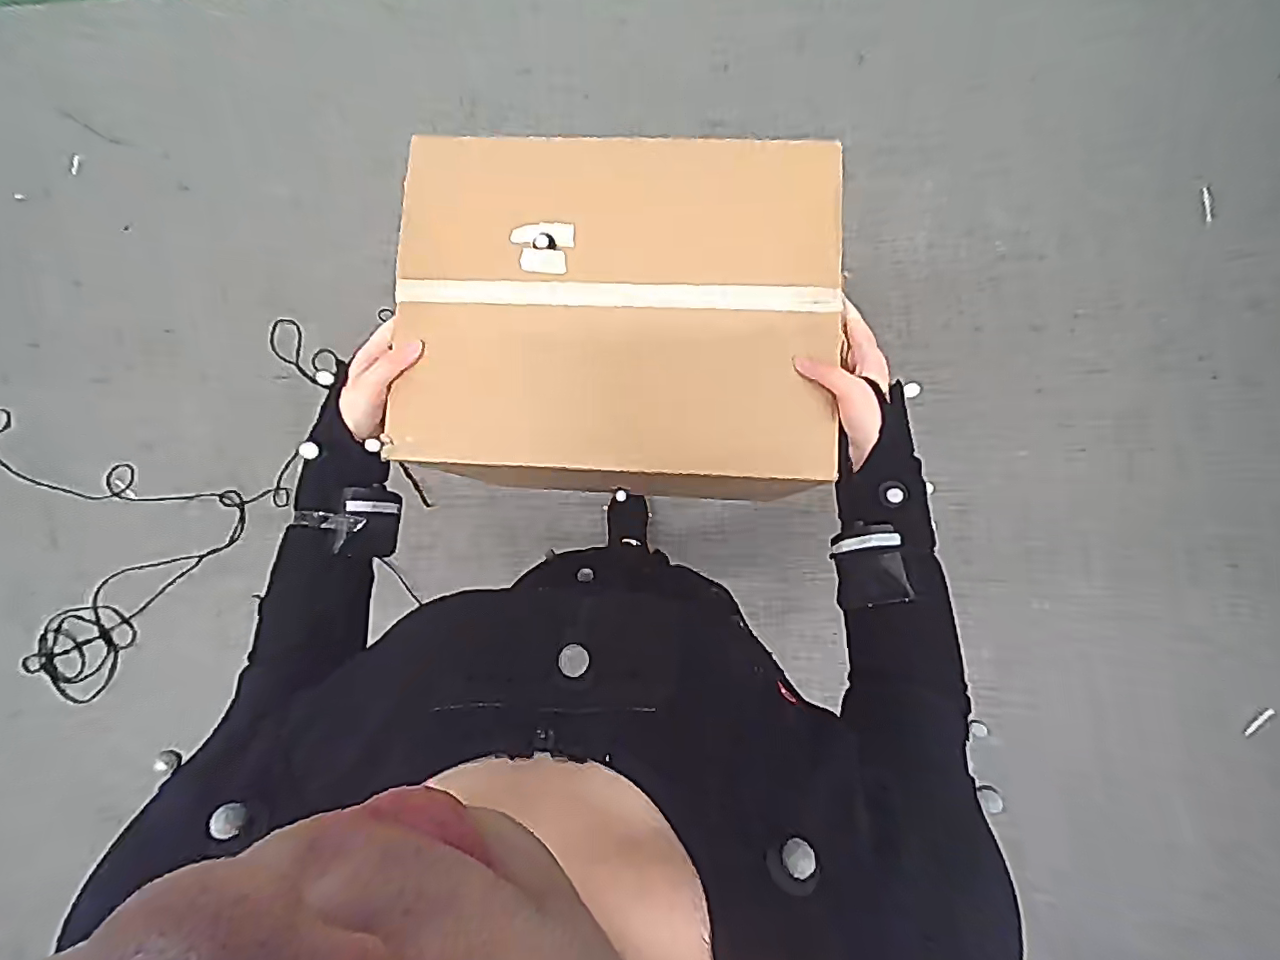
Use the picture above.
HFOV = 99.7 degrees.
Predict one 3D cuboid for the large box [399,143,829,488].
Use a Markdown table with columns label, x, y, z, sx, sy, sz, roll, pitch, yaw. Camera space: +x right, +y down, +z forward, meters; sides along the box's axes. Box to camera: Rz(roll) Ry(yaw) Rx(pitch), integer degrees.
| label | x | y | z | sx | sy | sz | roll | pitch | yaw |
| --- | --- | --- | --- | --- | --- | --- | --- | --- | --- |
| large box | -0.013 | -0.154 | 0.654 | 0.408 | 0.320 | 0.320 | 3 | 85 | 5 |
